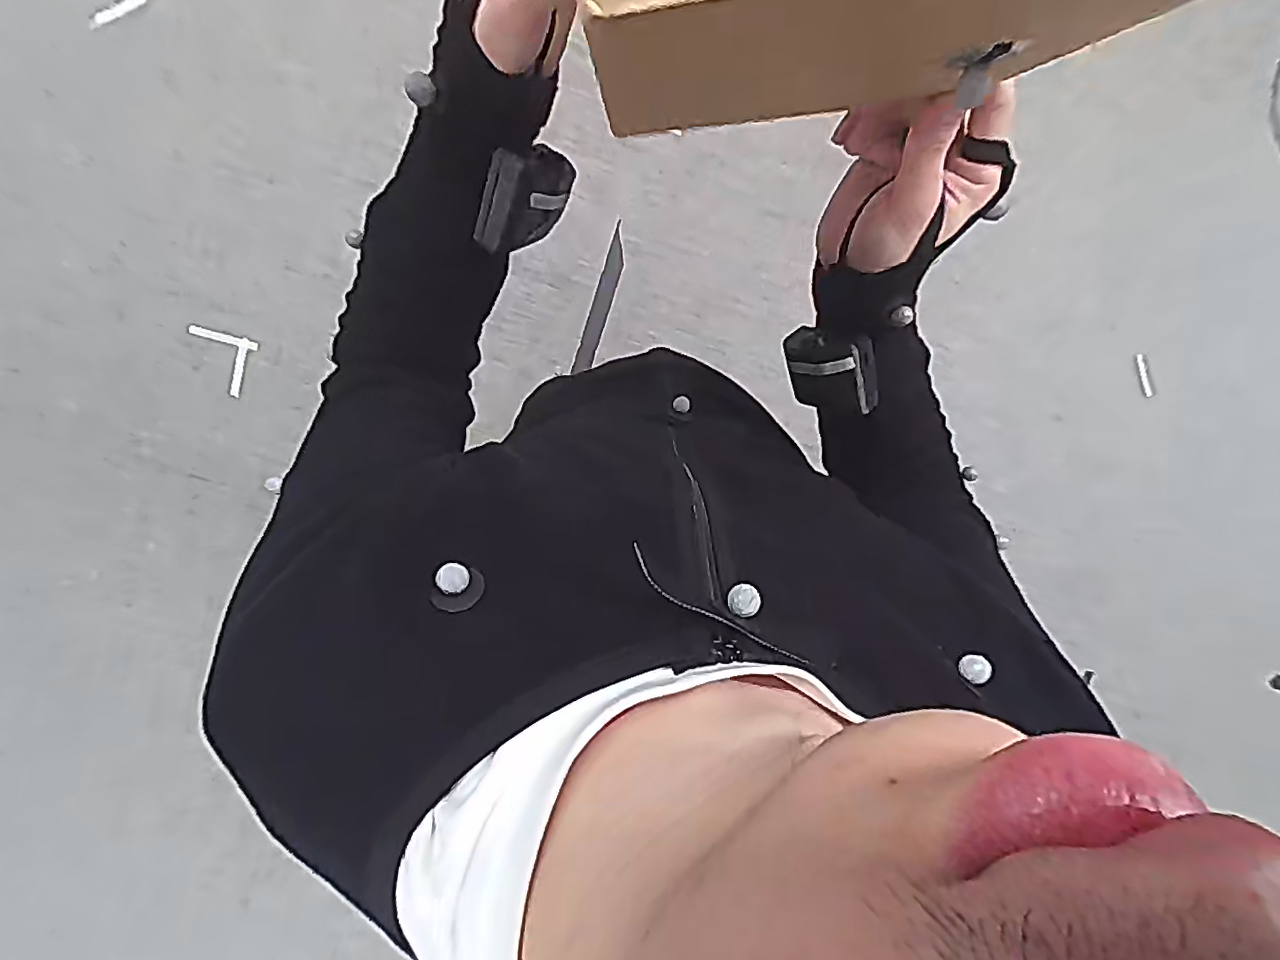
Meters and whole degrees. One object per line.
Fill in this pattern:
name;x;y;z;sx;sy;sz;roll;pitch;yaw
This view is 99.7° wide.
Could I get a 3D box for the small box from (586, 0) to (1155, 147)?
small box;0.064;-0.225;0.174;0.179;0.176;0.168;-7;112;4
